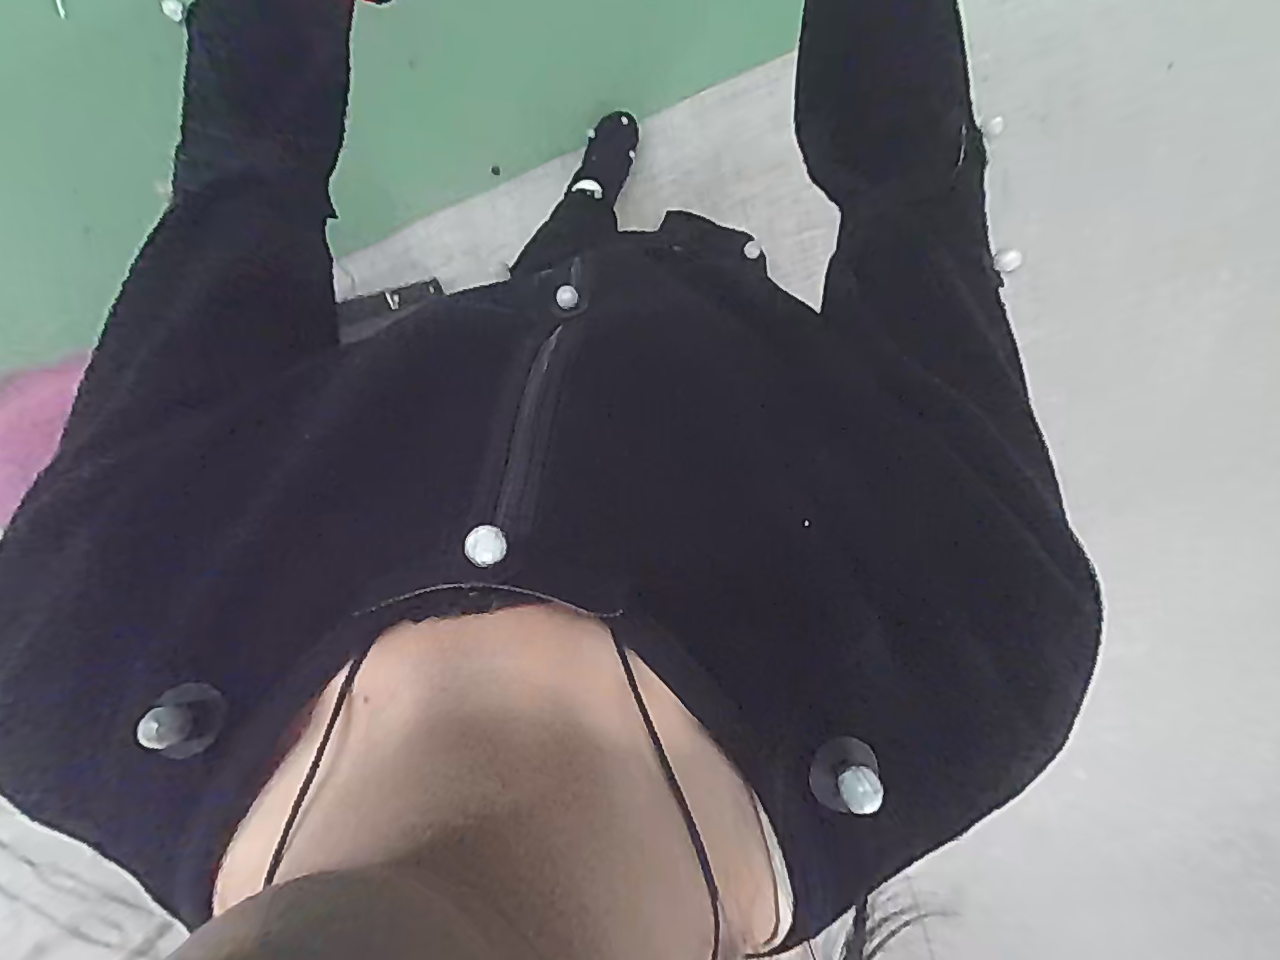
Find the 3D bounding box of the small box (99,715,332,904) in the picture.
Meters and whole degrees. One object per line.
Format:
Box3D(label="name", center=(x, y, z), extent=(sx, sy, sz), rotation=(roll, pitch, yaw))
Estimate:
Box3D(label="small box", center=(-0.586, 0.467, 0.778), extent=(0.168, 0.176, 0.179), rotation=(-5, 114, 7))
